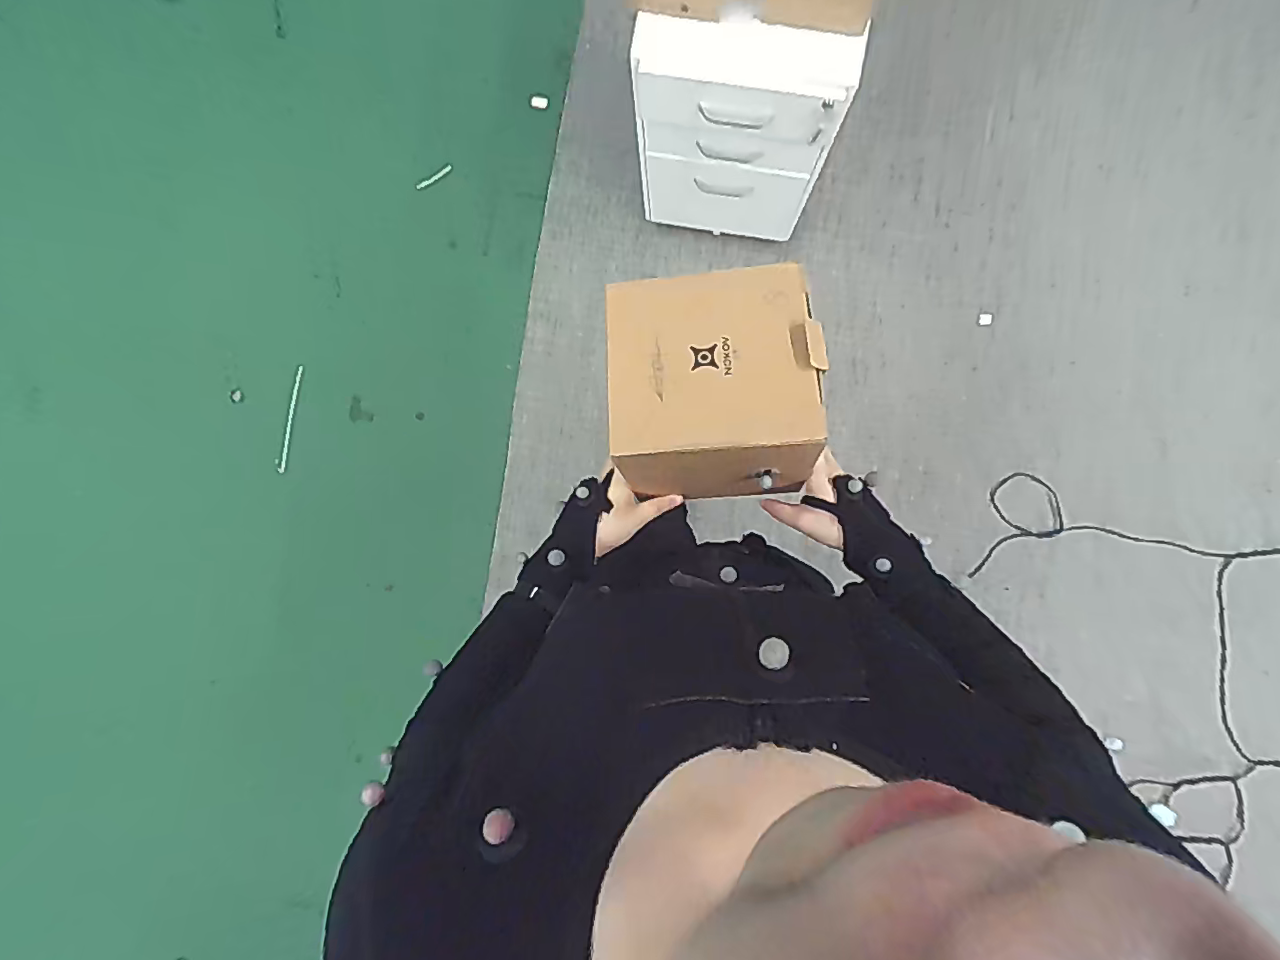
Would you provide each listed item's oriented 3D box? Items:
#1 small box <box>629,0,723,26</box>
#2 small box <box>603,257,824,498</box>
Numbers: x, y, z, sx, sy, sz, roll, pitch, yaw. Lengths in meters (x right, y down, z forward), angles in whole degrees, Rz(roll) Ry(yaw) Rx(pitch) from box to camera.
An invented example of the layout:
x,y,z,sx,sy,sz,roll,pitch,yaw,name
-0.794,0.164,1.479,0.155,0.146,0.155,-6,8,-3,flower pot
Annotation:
x,y,z,sx,sy,sz,roll,pitch,yaw,name
0.067,-0.876,0.856,0.168,0.176,0.179,11,88,2,small box
0.066,-0.085,0.526,0.179,0.176,0.168,-5,73,8,small box
